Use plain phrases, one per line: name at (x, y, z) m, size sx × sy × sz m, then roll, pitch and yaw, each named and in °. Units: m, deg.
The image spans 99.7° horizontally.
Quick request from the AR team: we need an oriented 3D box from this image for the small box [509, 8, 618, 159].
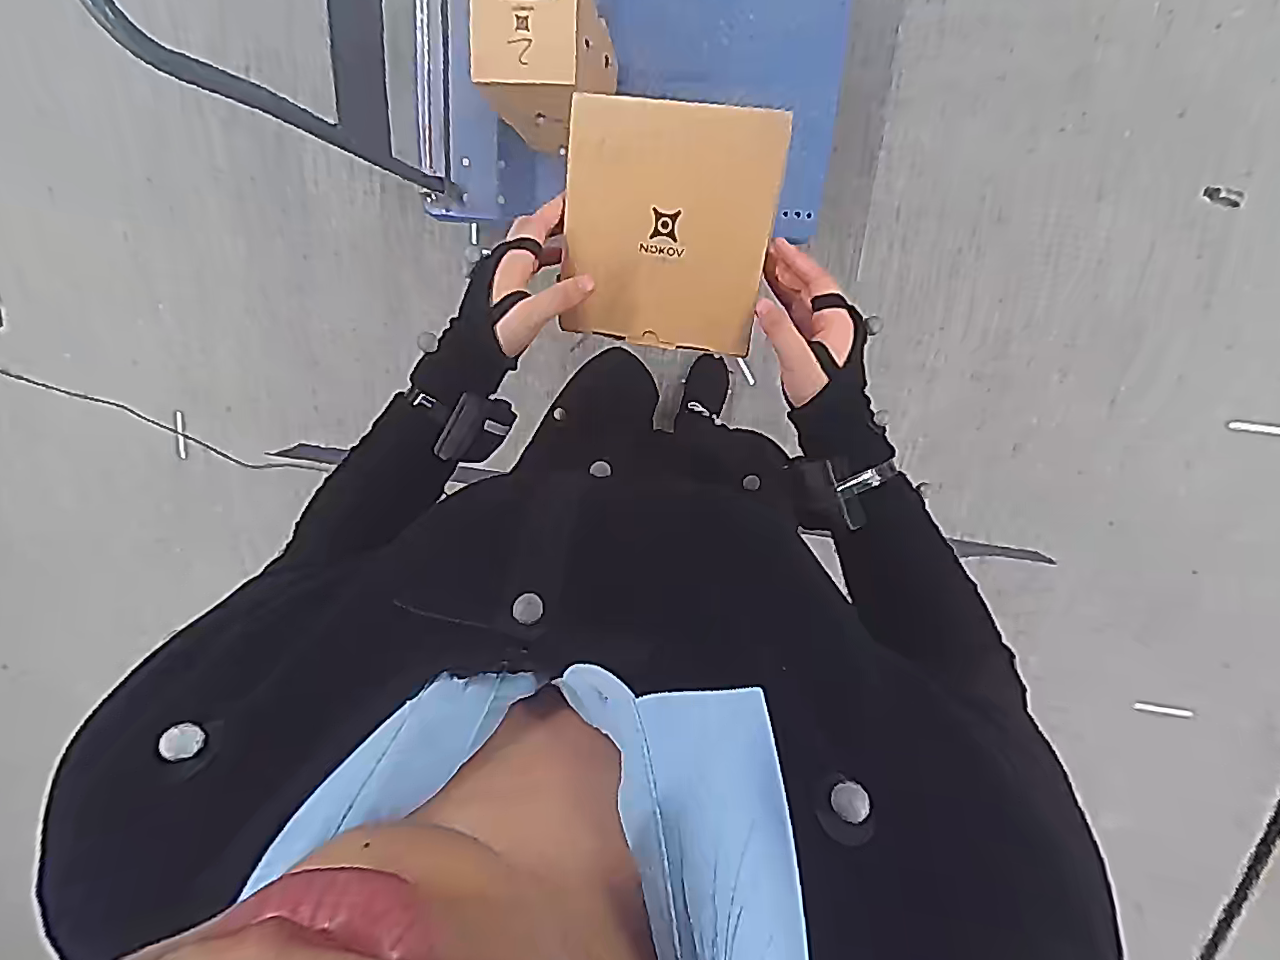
small box at (-0.139, -0.748, 1.037) m, size 0.168 × 0.176 × 0.179 m, roll 10°, pitch 105°, yaw 3°
